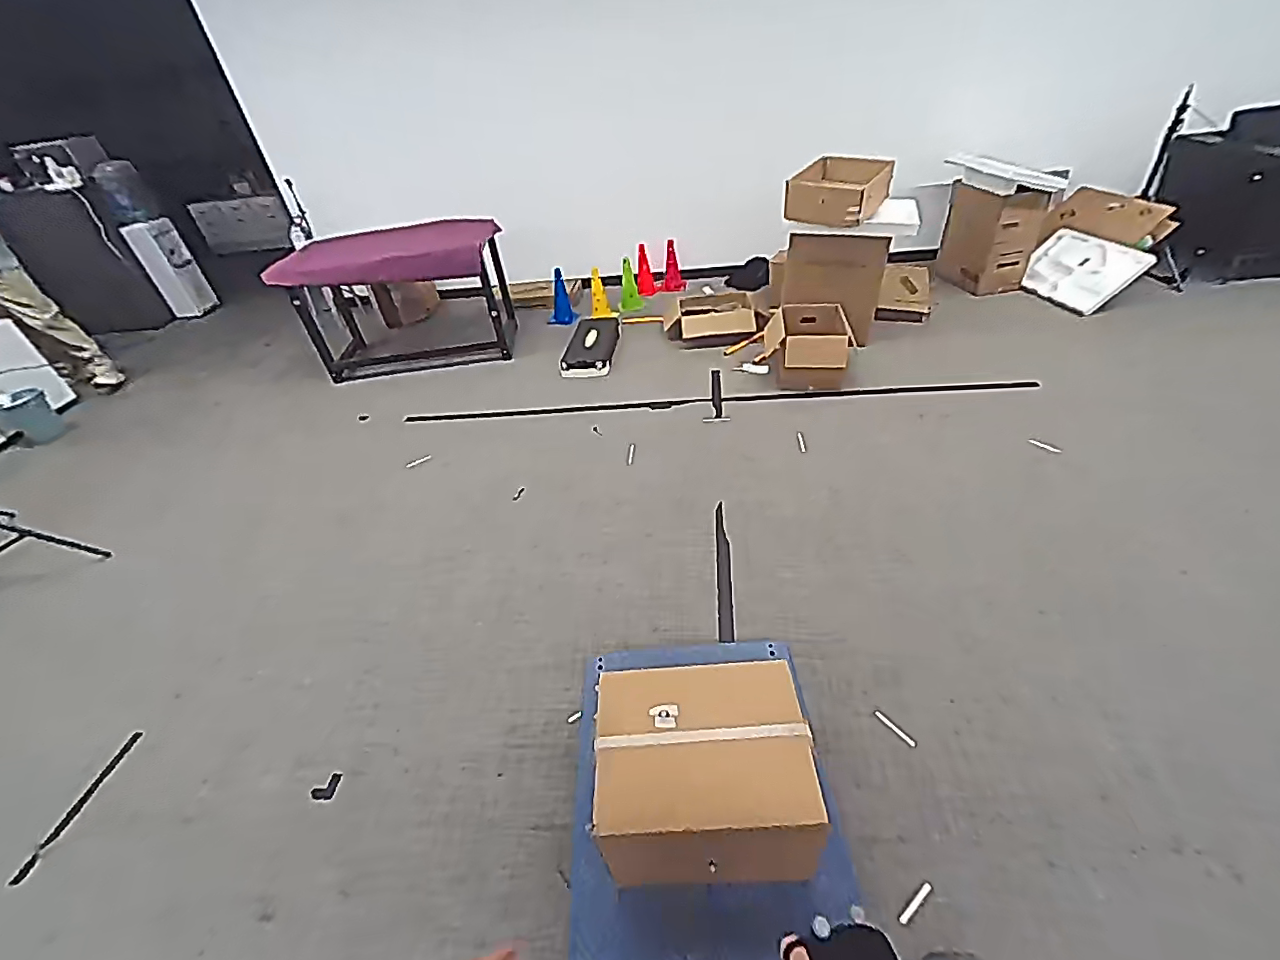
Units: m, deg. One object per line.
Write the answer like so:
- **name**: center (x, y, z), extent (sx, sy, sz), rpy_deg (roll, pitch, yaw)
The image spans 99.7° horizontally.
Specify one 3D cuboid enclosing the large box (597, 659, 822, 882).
- **large box**: center (0.135, 0.619, 1.151), extent (0.408, 0.320, 0.320), rpy_deg (-7, 38, 4)
